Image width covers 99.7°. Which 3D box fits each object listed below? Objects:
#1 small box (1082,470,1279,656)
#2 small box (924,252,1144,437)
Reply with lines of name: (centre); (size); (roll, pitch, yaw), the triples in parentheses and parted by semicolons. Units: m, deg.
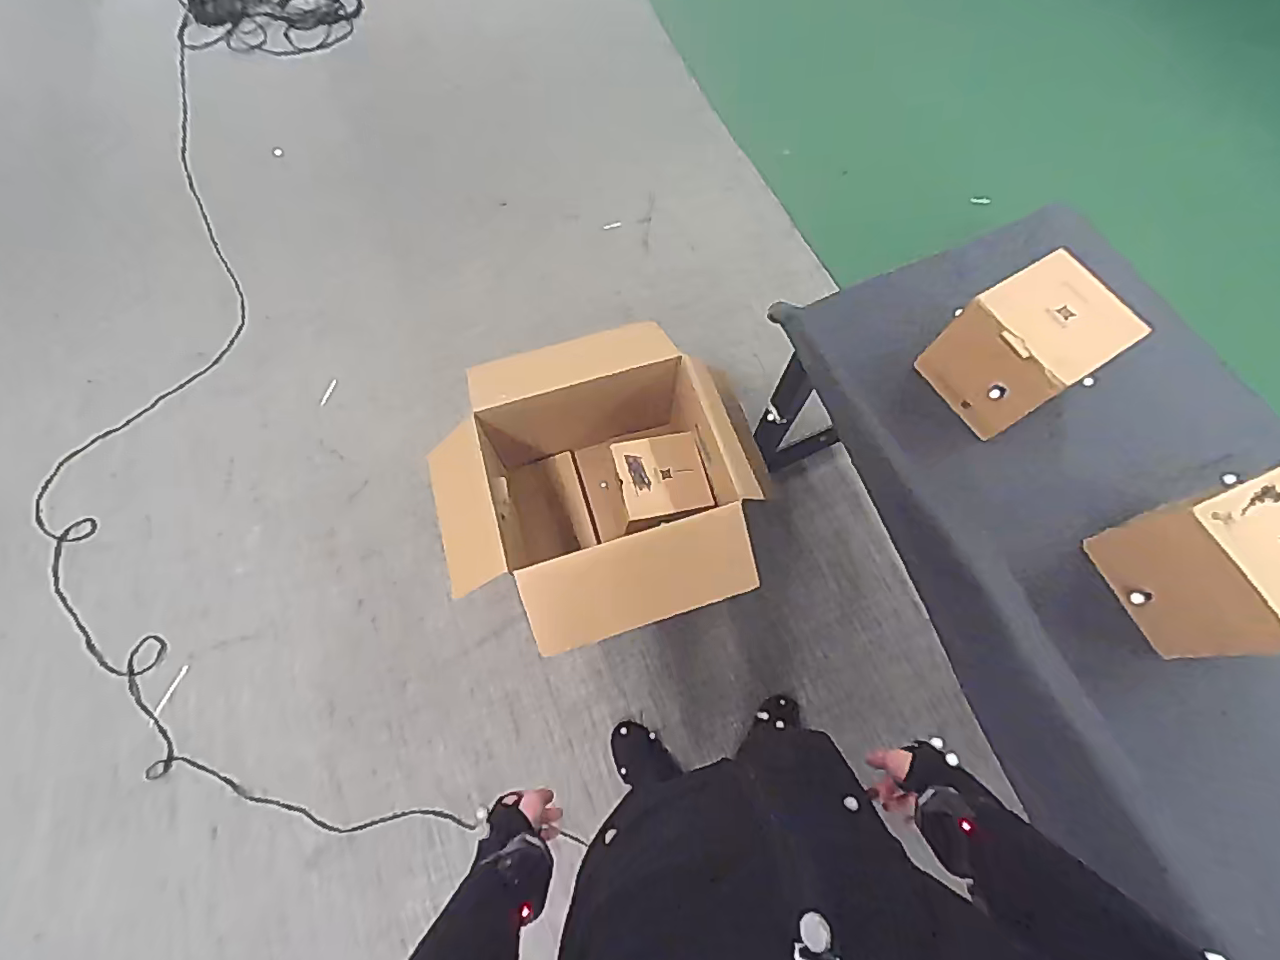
small box: (0.740, 0.112, 0.692); (0.168, 0.176, 0.179); (-20, 72, -9)
small box: (0.561, -0.192, 0.804); (0.179, 0.176, 0.168); (-29, 74, -14)
